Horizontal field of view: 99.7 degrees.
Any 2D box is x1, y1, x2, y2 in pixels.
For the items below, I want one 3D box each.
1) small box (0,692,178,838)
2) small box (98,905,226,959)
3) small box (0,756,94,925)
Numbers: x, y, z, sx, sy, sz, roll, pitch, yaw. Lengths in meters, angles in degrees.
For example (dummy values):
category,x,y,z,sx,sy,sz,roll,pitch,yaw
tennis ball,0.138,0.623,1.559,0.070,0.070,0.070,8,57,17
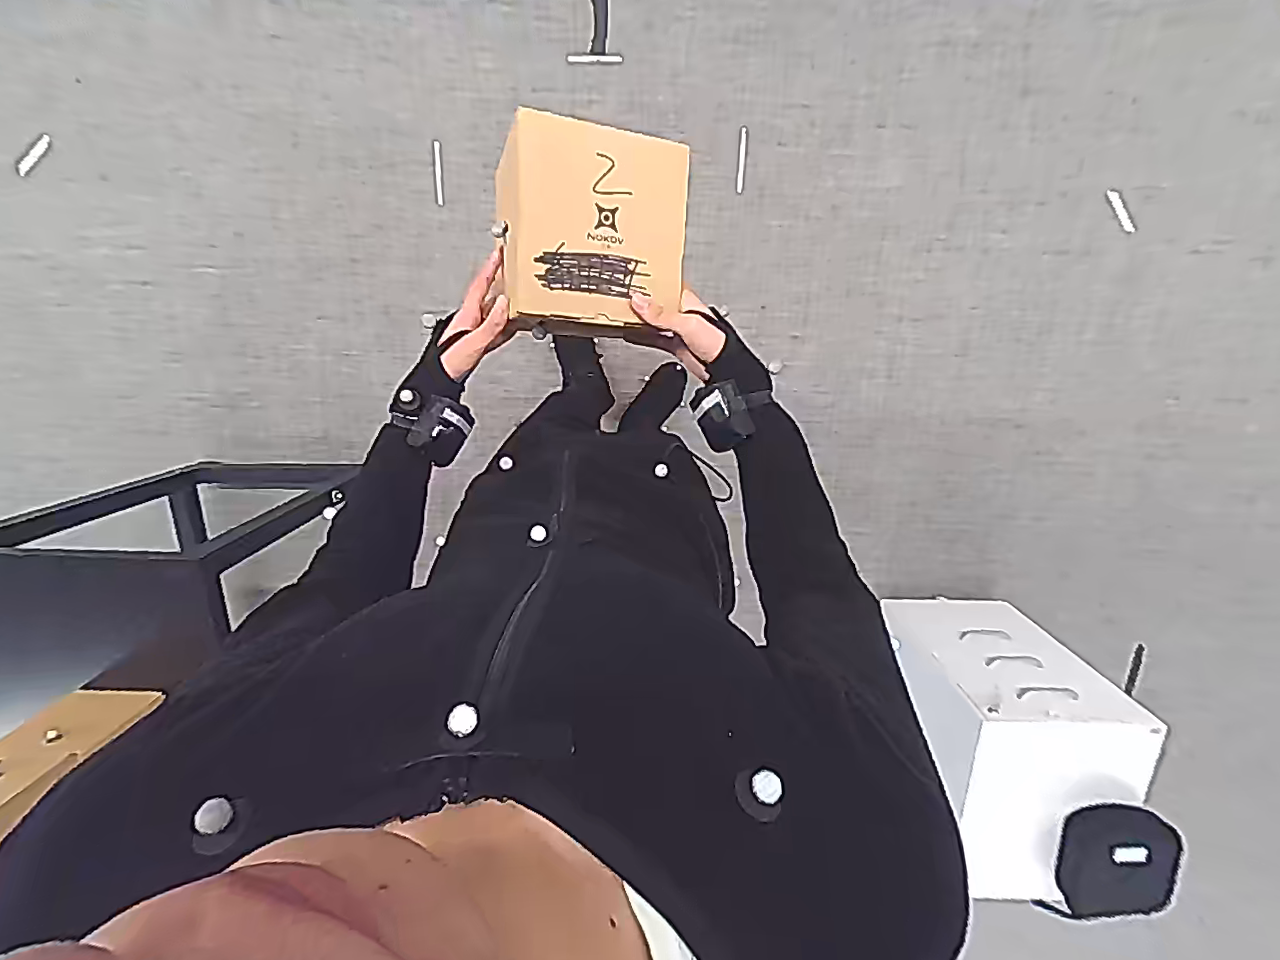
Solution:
category,x,y,z,sx,sy,sz,roll,pitch,yaw
small box,-0.995,0.502,0.970,0.179,0.176,0.168,1,106,1
small box,-1.000,1.019,1.115,0.179,0.176,0.168,0,105,1
small box,-0.992,0.547,0.811,0.168,0.176,0.179,-2,105,1
